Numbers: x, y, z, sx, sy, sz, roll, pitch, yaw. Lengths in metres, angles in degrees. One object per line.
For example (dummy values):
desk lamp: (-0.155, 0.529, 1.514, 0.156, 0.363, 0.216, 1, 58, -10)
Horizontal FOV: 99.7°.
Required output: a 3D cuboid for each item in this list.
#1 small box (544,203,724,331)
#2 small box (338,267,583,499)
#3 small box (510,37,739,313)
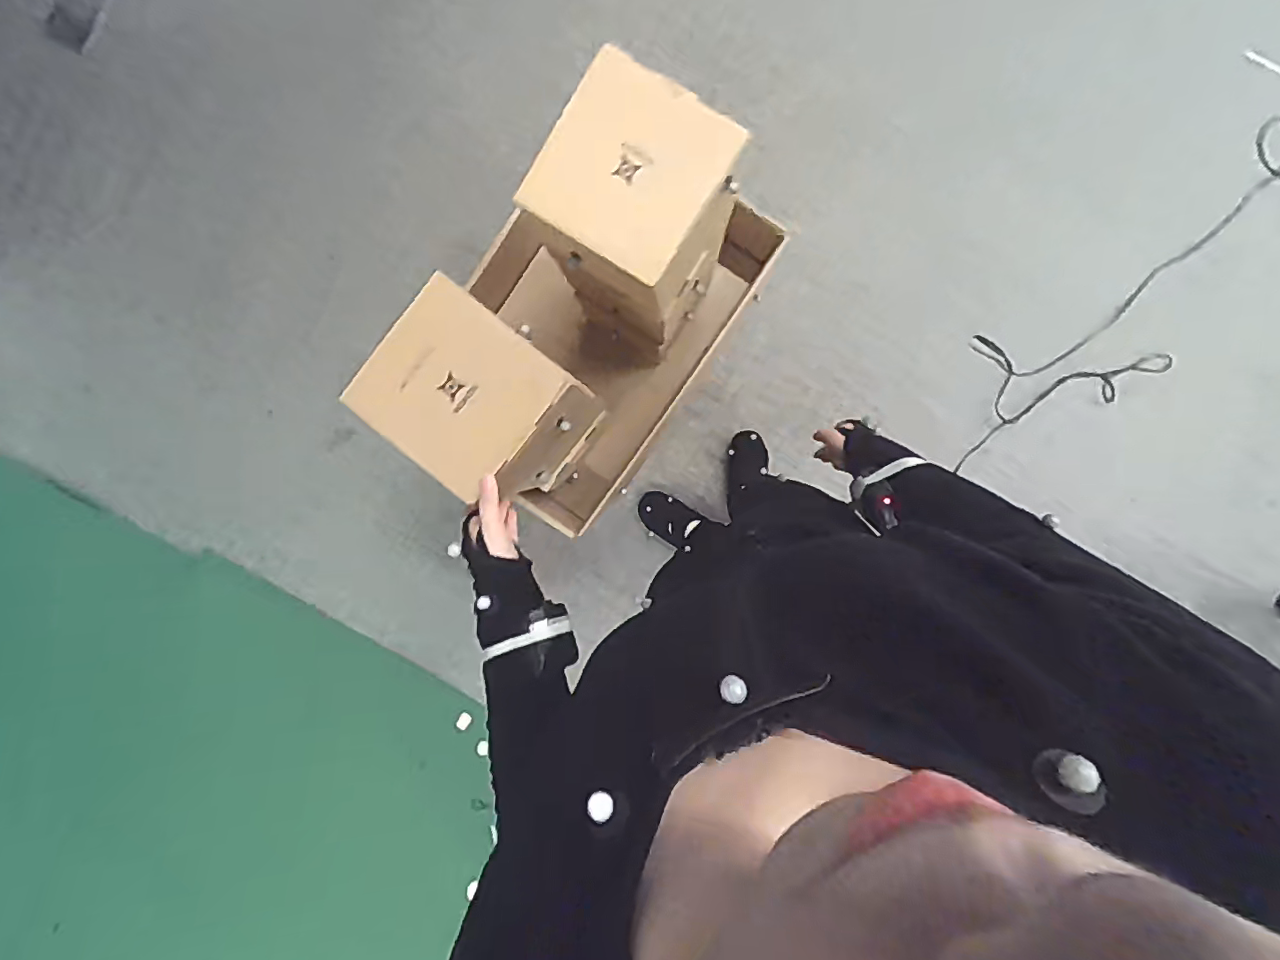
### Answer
small box: (-0.007, -0.330, 0.763, 0.179, 0.176, 0.168, 32, 94, -2)
small box: (-0.185, -0.102, 0.618, 0.179, 0.176, 0.168, 39, 94, -1)
small box: (-0.012, -0.313, 0.601, 0.168, 0.176, 0.179, 32, 94, 0)
